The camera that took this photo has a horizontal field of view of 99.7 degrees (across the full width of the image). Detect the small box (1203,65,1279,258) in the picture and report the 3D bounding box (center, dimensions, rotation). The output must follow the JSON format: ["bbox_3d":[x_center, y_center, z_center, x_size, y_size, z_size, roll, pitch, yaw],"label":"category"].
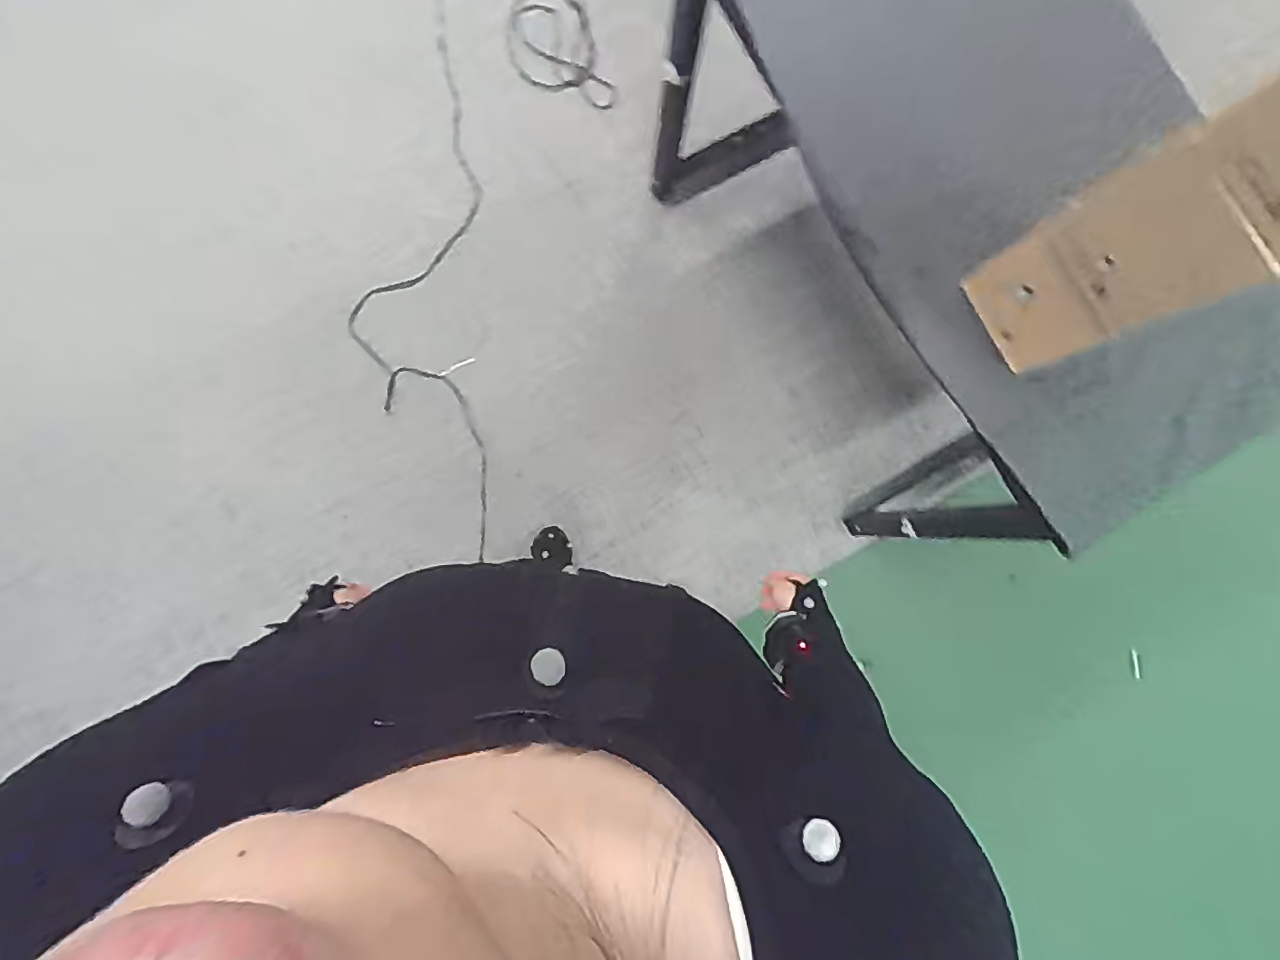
[{"bbox_3d":[0.636,-0.313,0.433,0.179,0.176,0.168,-32,88,-8],"label":"small box"}]

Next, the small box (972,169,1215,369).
[{"bbox_3d":[0.610,-0.280,0.758,0.179,0.176,0.168,-29,88,-7],"label":"small box"}]
